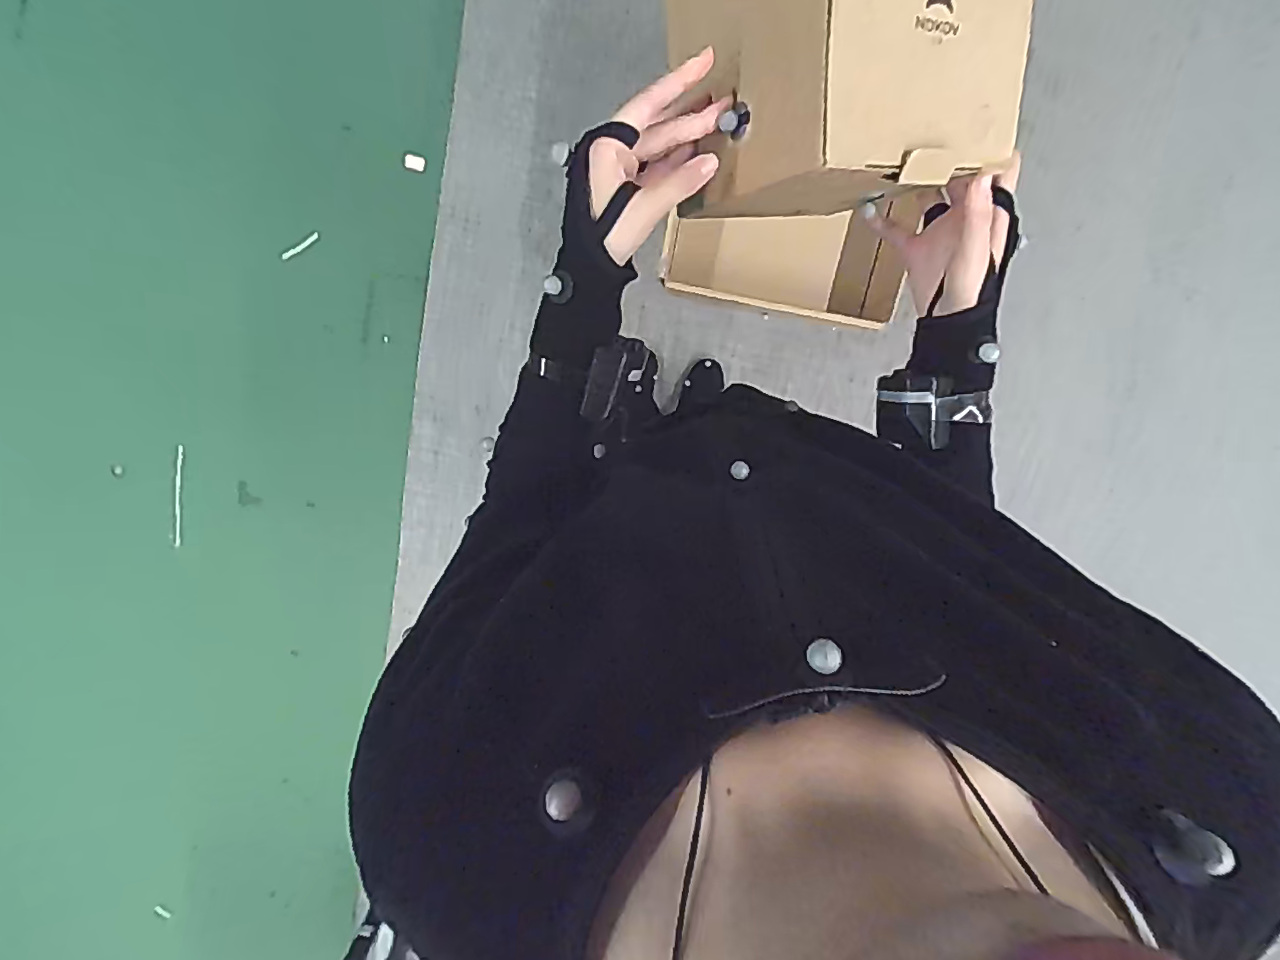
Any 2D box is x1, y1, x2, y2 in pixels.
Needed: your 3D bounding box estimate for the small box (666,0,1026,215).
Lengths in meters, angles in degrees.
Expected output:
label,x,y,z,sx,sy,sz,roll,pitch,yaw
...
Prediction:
label,x,y,z,sx,sy,sz,roll,pitch,yaw
small box,0.129,-0.291,0.375,0.168,0.176,0.179,-13,109,-24
